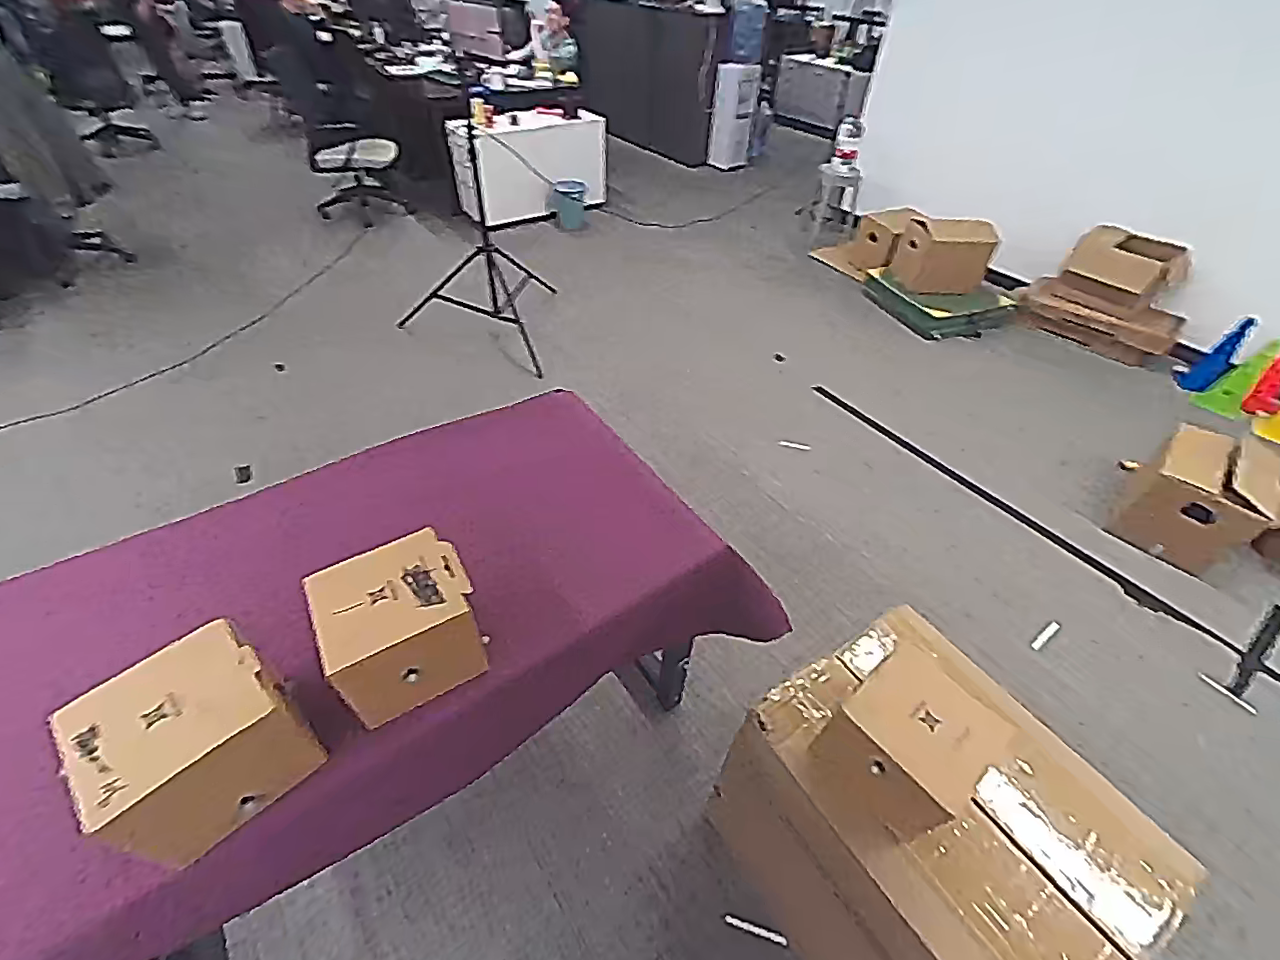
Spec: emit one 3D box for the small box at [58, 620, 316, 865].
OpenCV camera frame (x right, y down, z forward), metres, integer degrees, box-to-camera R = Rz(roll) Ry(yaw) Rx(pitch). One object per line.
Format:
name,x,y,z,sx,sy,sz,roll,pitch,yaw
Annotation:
small box,-0.527,0.314,0.657,0.168,0.176,0.179,34,51,28

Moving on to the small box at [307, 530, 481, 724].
small box,-0.340,0.209,0.774,0.179,0.176,0.168,-23,49,-23

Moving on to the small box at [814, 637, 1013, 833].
small box,0.385,0.376,0.795,0.168,0.176,0.179,-31,55,-27
